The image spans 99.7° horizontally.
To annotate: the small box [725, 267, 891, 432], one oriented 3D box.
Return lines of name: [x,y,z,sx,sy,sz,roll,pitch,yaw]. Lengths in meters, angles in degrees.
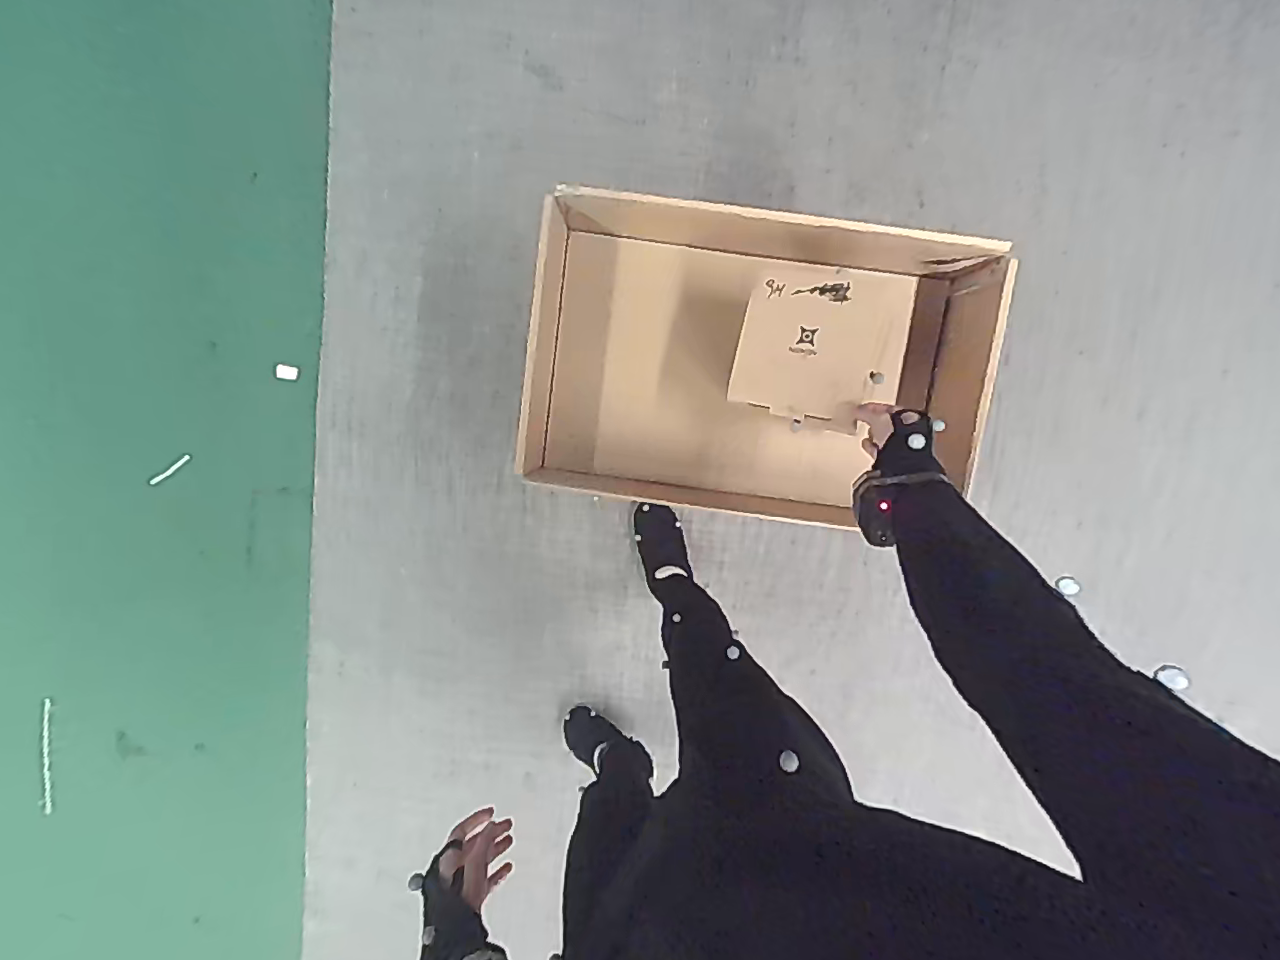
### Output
small box: [0.235,-0.167,0.733,0.168,0.176,0.179,16,97,25]
